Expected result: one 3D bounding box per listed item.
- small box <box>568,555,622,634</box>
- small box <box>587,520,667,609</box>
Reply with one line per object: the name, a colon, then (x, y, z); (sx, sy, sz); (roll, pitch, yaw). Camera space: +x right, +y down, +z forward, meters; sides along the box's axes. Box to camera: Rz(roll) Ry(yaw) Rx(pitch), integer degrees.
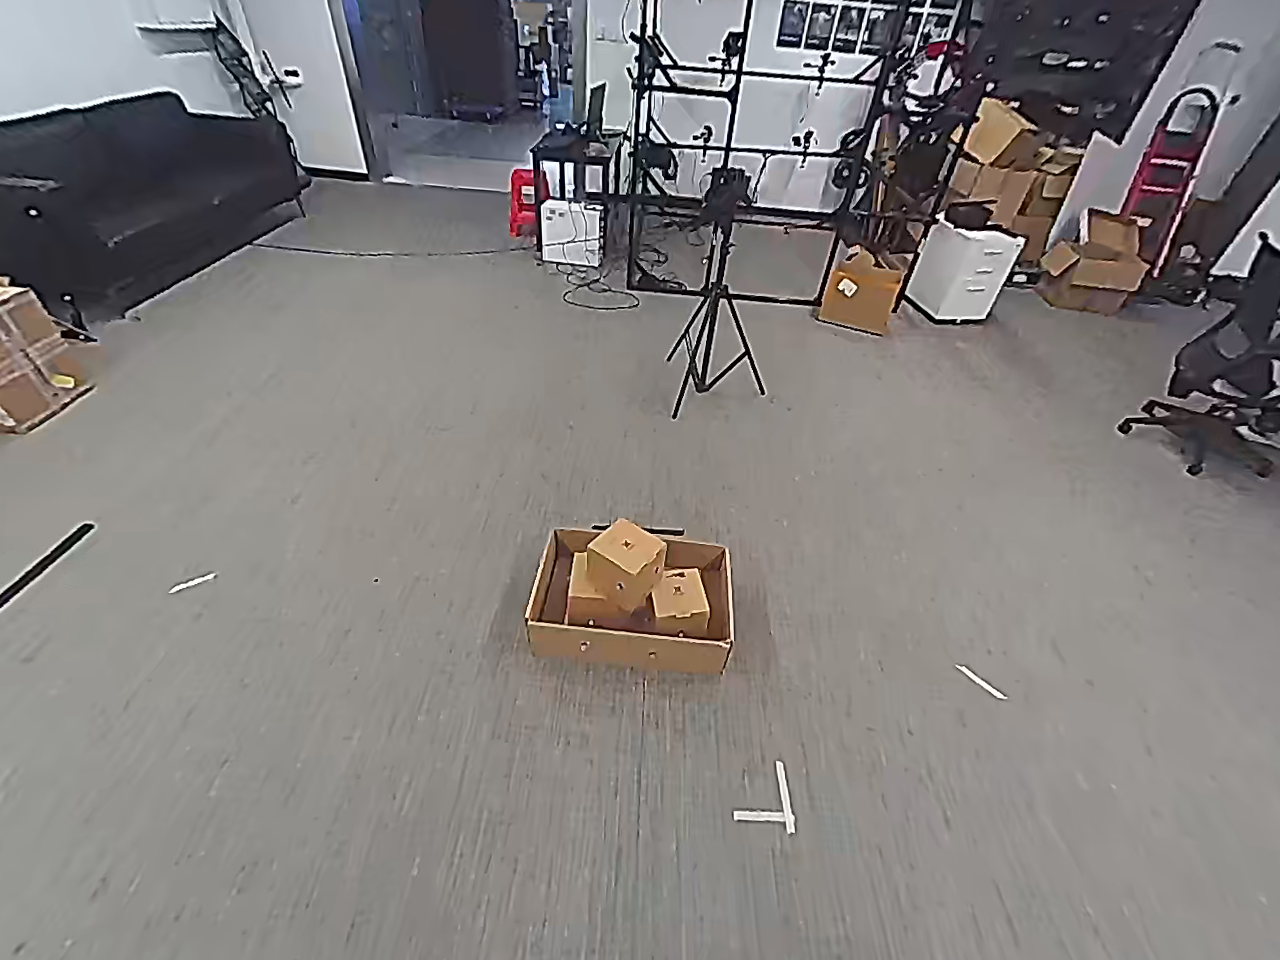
small box: (-0.138, 0.365, 1.728); (0.168, 0.176, 0.179); (5, 40, -2)
small box: (-0.041, 0.258, 1.615); (0.179, 0.176, 0.168); (27, 42, 25)
